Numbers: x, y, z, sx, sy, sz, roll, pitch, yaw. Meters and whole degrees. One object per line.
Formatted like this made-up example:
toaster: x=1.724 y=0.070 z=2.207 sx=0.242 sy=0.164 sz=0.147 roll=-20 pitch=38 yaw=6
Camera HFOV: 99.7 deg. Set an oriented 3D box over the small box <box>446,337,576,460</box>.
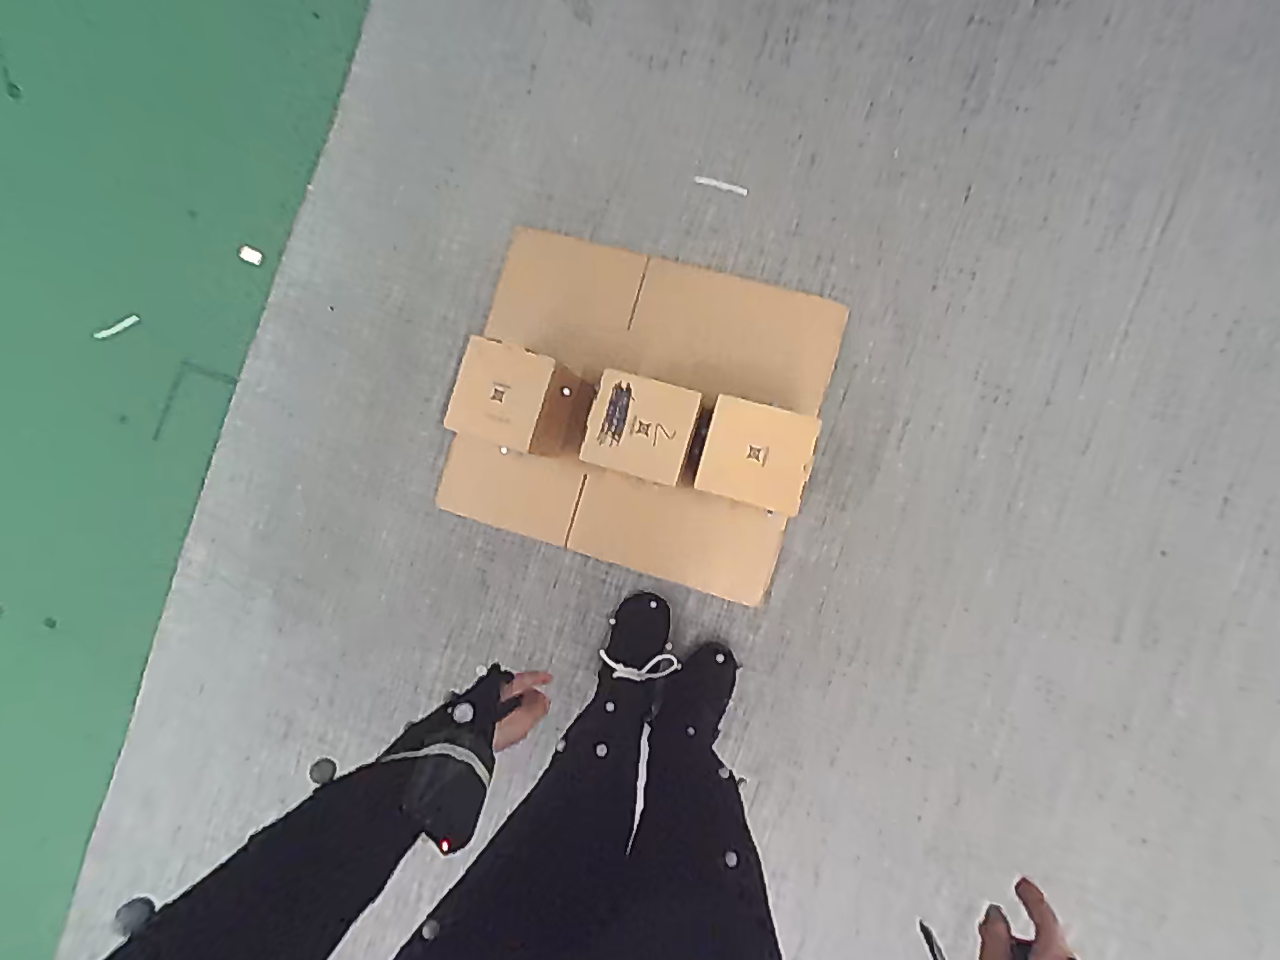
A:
small box: x=-0.231 y=-0.145 z=1.022 sx=0.168 sy=0.176 sz=0.179 roll=17 pitch=92 yaw=8
